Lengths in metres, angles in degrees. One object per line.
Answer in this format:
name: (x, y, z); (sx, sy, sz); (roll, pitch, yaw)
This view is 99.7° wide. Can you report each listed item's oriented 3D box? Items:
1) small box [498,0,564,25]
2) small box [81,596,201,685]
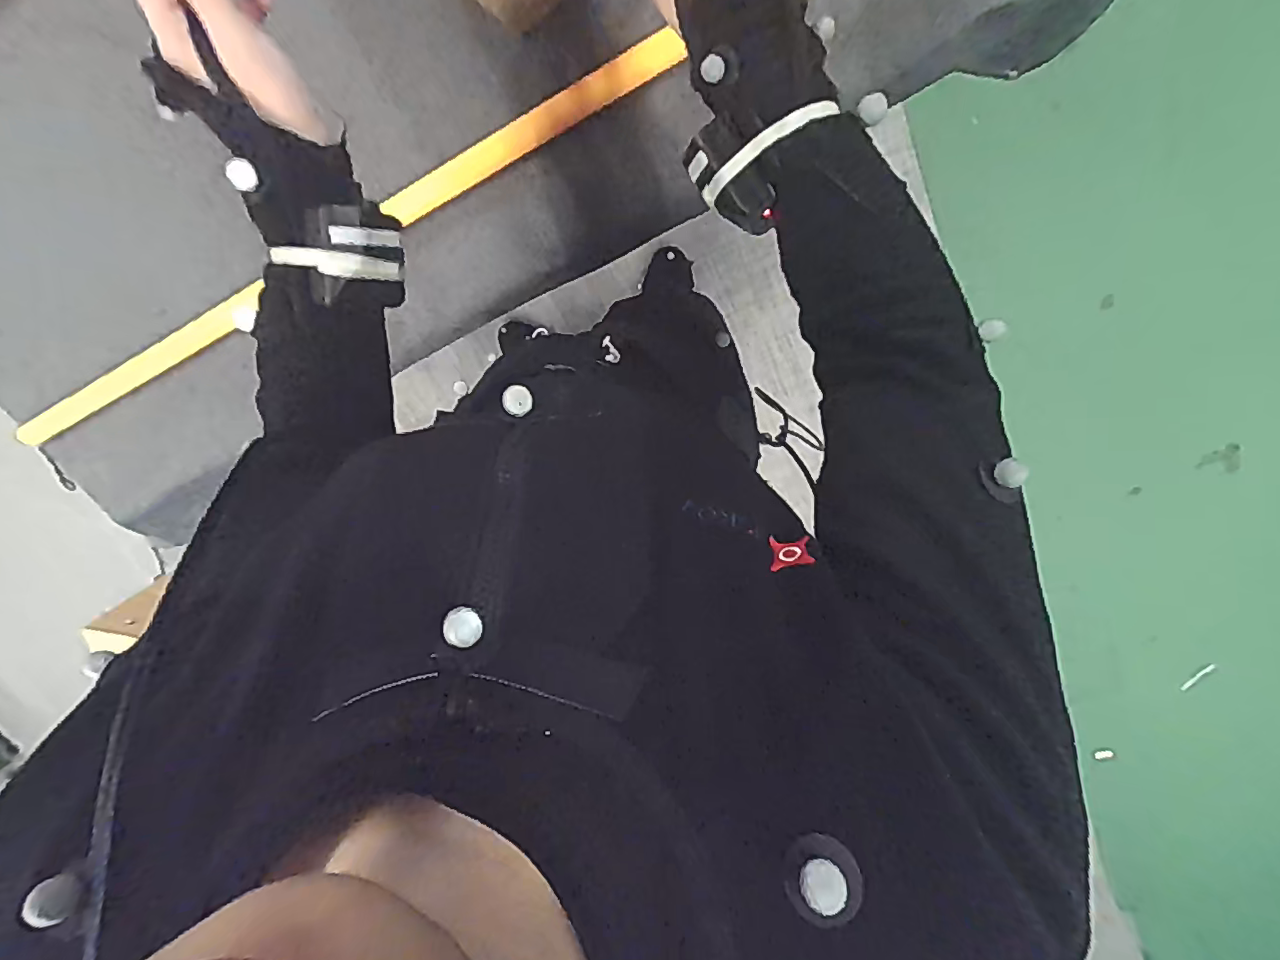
small box: (-0.086, -0.439, 0.329); (0.168, 0.176, 0.179); (-28, 110, 20)
small box: (-1.404, 0.452, 1.542); (0.179, 0.176, 0.168); (7, 116, 4)
